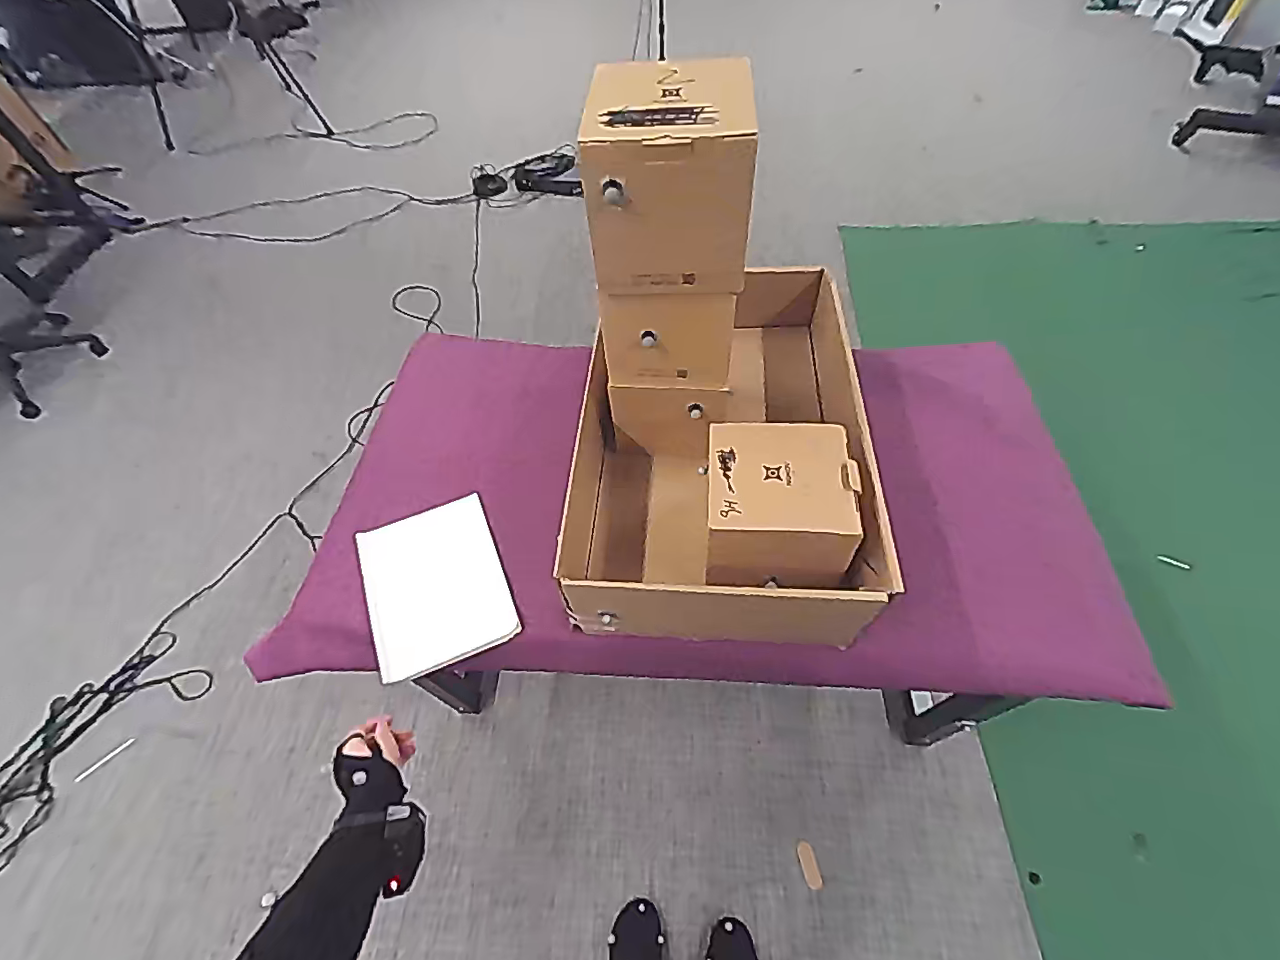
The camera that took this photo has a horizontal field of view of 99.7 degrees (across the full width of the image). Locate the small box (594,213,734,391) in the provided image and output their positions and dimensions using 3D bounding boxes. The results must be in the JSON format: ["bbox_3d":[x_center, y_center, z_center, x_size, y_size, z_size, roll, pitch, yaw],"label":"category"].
[{"bbox_3d":[0.040,-0.240,0.744,0.168,0.176,0.179,3,56,6],"label":"small box"}]
